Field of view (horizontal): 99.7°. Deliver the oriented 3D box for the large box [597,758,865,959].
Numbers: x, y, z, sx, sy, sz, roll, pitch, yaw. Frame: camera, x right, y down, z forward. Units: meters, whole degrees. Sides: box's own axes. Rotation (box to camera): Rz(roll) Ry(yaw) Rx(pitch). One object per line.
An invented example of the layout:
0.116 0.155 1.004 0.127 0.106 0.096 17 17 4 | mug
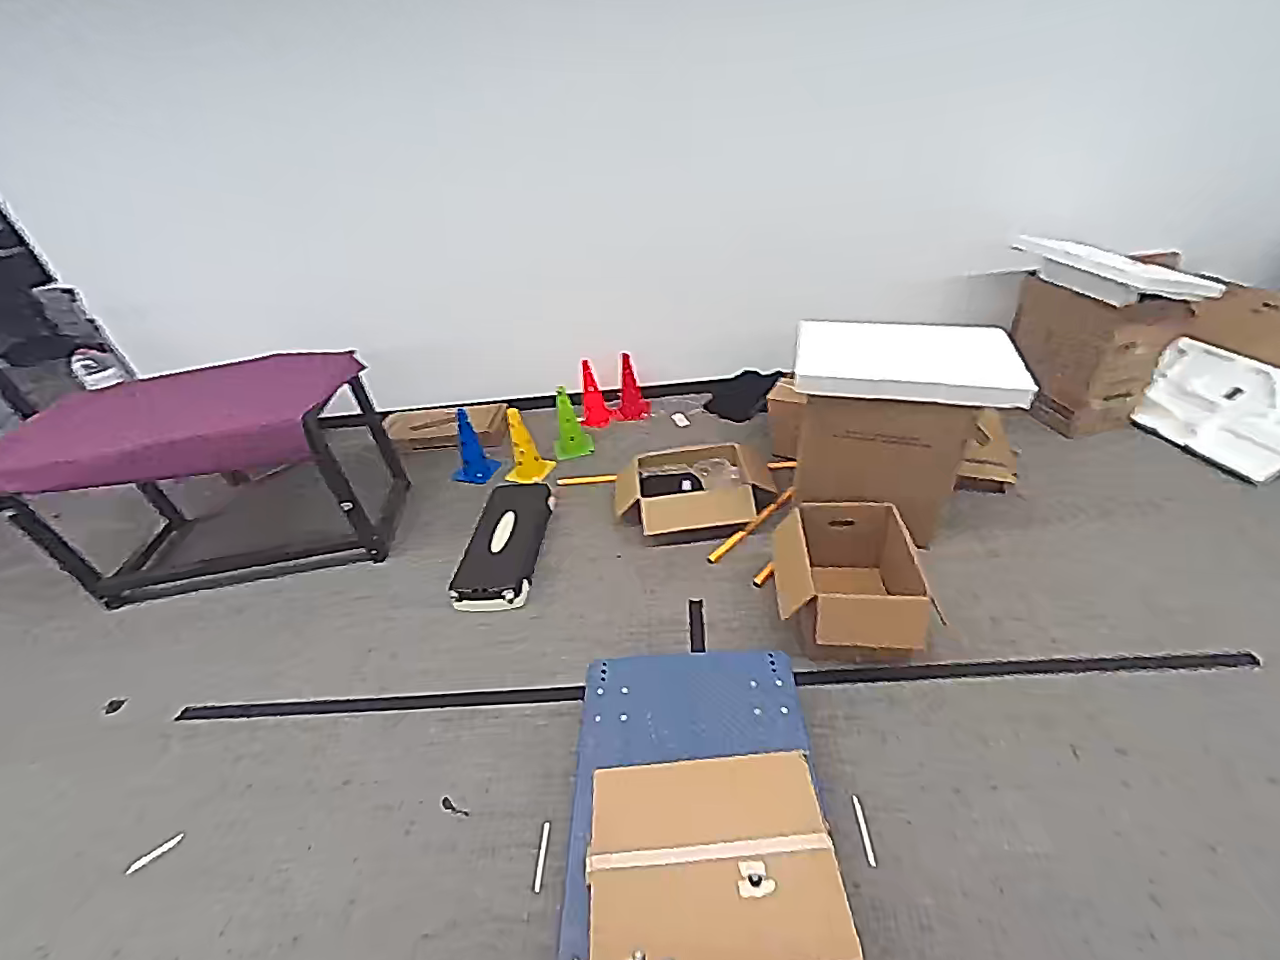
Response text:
0.138 0.760 0.993 0.408 0.320 0.320 -6 36 1 | large box
